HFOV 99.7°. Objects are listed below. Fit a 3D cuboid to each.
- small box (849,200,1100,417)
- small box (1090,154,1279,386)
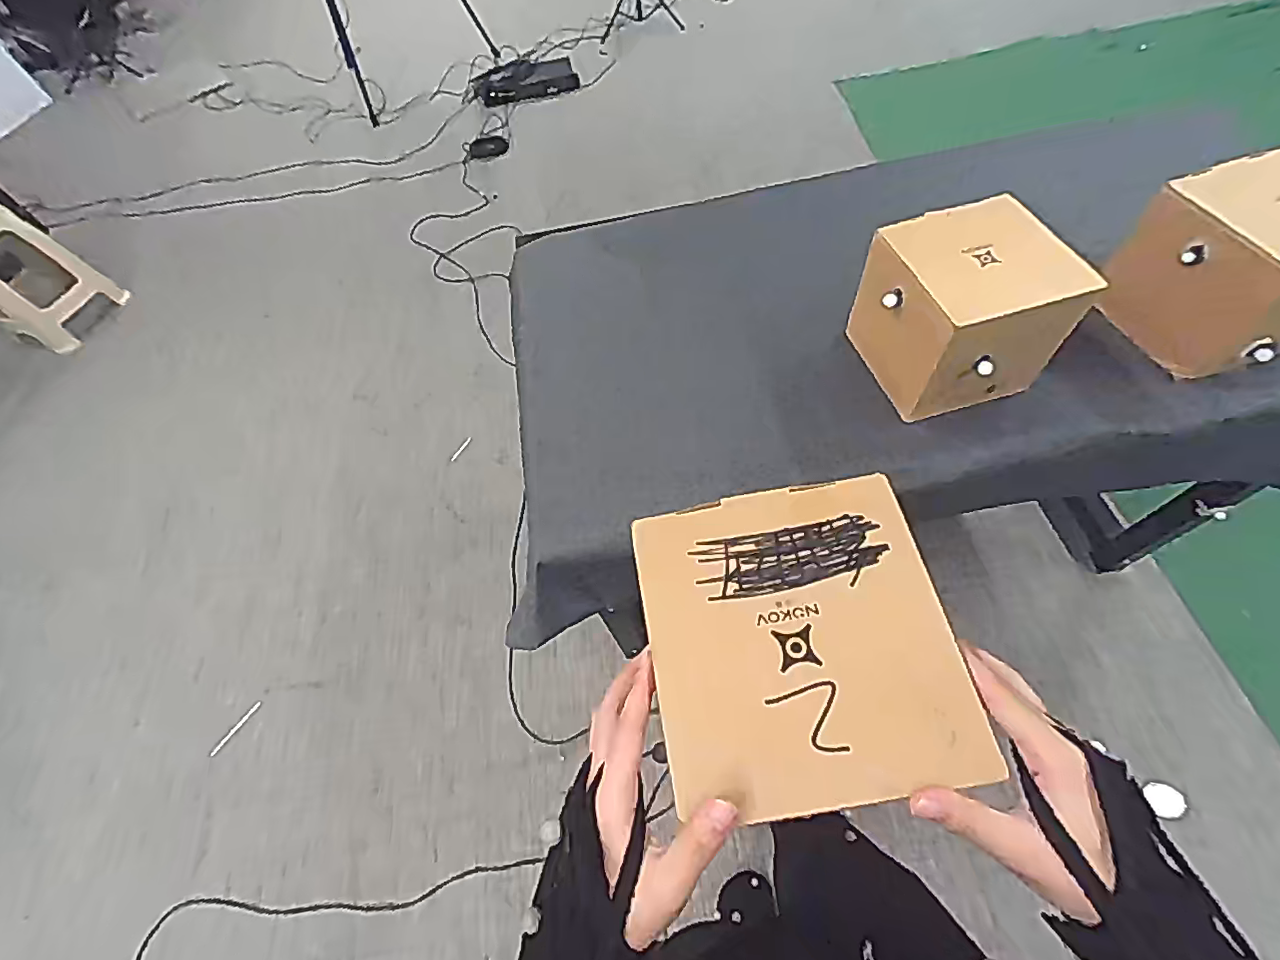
[{"bbox_3d":[0.381,-0.197,0.658,0.168,0.176,0.179,-16,58,-2],"label":"small box"},{"bbox_3d":[0.703,-0.245,0.646,0.168,0.176,0.179,-18,59,-2],"label":"small box"}]
